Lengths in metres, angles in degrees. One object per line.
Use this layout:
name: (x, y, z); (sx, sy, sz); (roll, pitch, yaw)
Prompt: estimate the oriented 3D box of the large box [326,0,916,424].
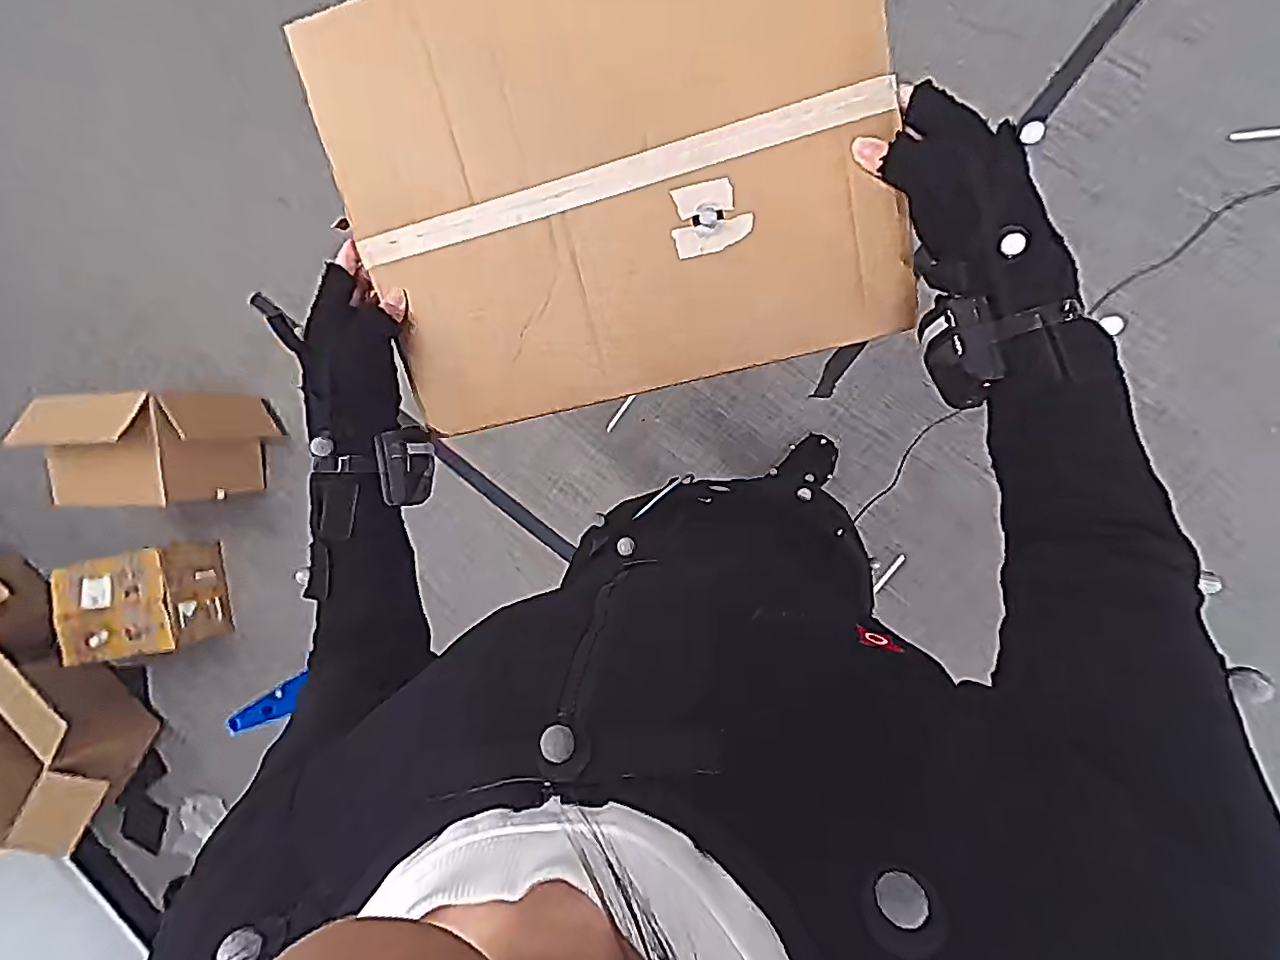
large box: (0.001, -0.273, 0.552); (0.408, 0.320, 0.320); (-11, 106, 10)
